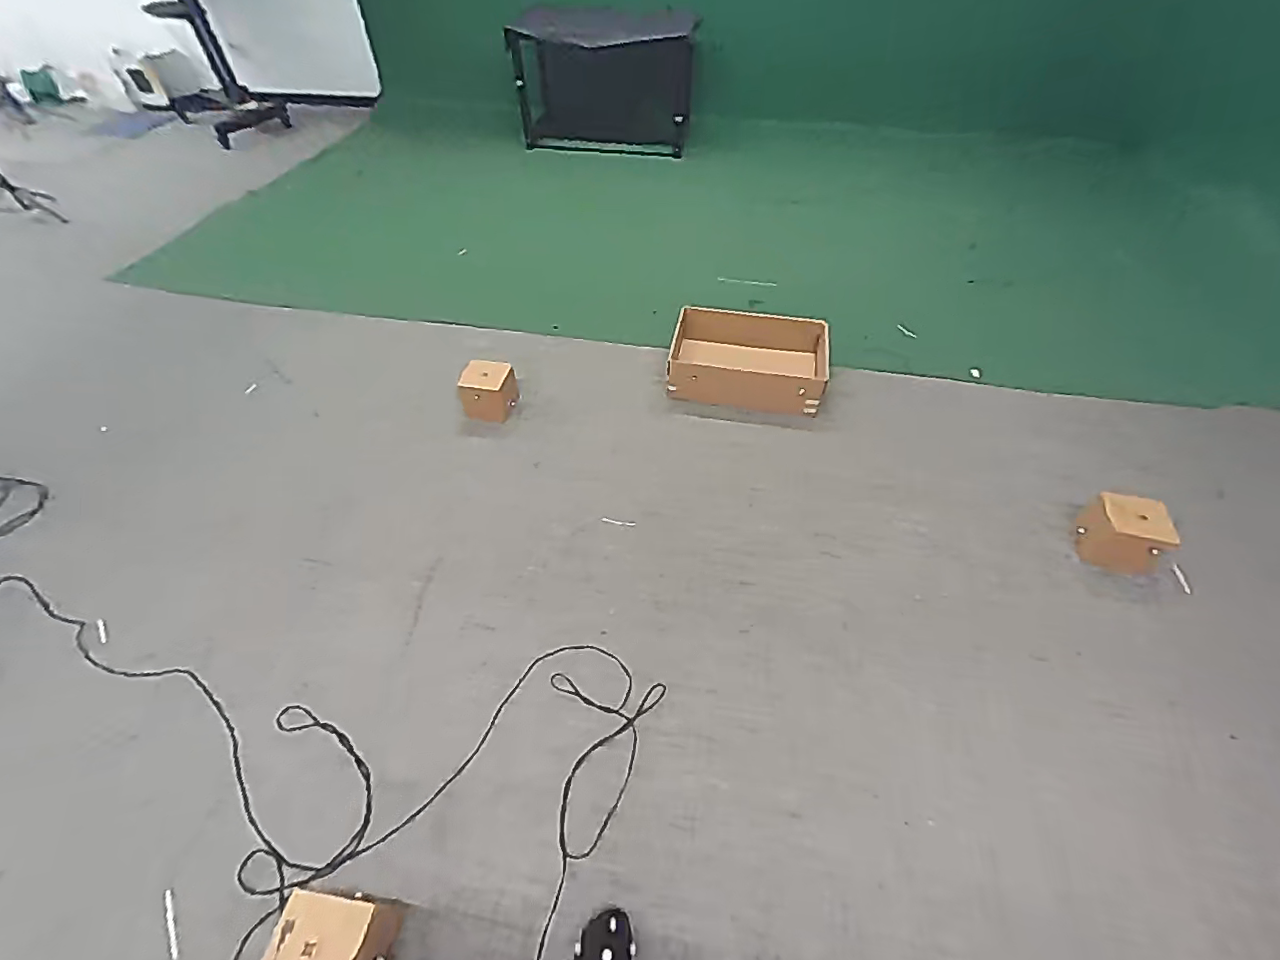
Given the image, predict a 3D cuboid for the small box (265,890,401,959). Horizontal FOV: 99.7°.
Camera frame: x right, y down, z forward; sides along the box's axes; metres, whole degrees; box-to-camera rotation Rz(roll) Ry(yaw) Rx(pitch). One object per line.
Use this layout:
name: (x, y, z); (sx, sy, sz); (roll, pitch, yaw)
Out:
small box: (-0.597, 0.919, 1.051); (0.179, 0.176, 0.168); (7, 49, 5)

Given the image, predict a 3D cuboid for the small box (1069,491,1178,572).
small box: (1.492, 0.164, 1.682); (0.179, 0.176, 0.168); (12, 50, 11)

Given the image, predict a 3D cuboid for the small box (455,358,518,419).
small box: (-0.603, -0.360, 2.145); (0.179, 0.176, 0.168); (8, 52, 6)
